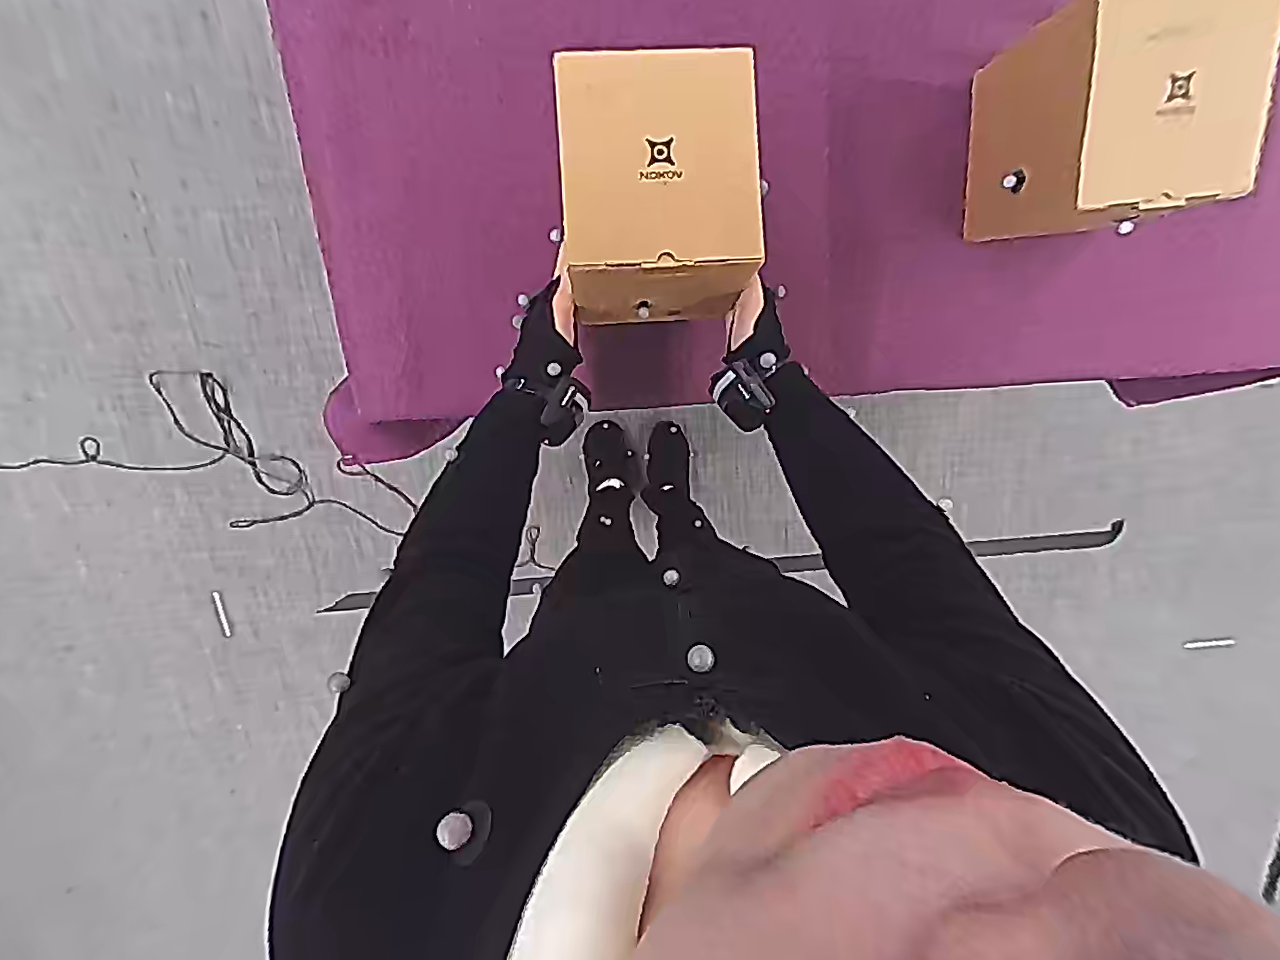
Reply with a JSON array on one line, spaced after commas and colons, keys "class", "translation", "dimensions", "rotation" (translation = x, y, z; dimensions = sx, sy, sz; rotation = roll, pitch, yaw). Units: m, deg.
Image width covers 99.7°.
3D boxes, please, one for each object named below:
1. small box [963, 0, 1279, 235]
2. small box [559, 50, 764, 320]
[{"class": "small box", "translation": [0.458, -0.353, 0.545], "dimensions": [0.168, 0.176, 0.179], "rotation": [-5, 105, -1]}, {"class": "small box", "translation": [0.012, -0.267, 0.524], "dimensions": [0.168, 0.176, 0.179], "rotation": [-4, 92, -4]}]
